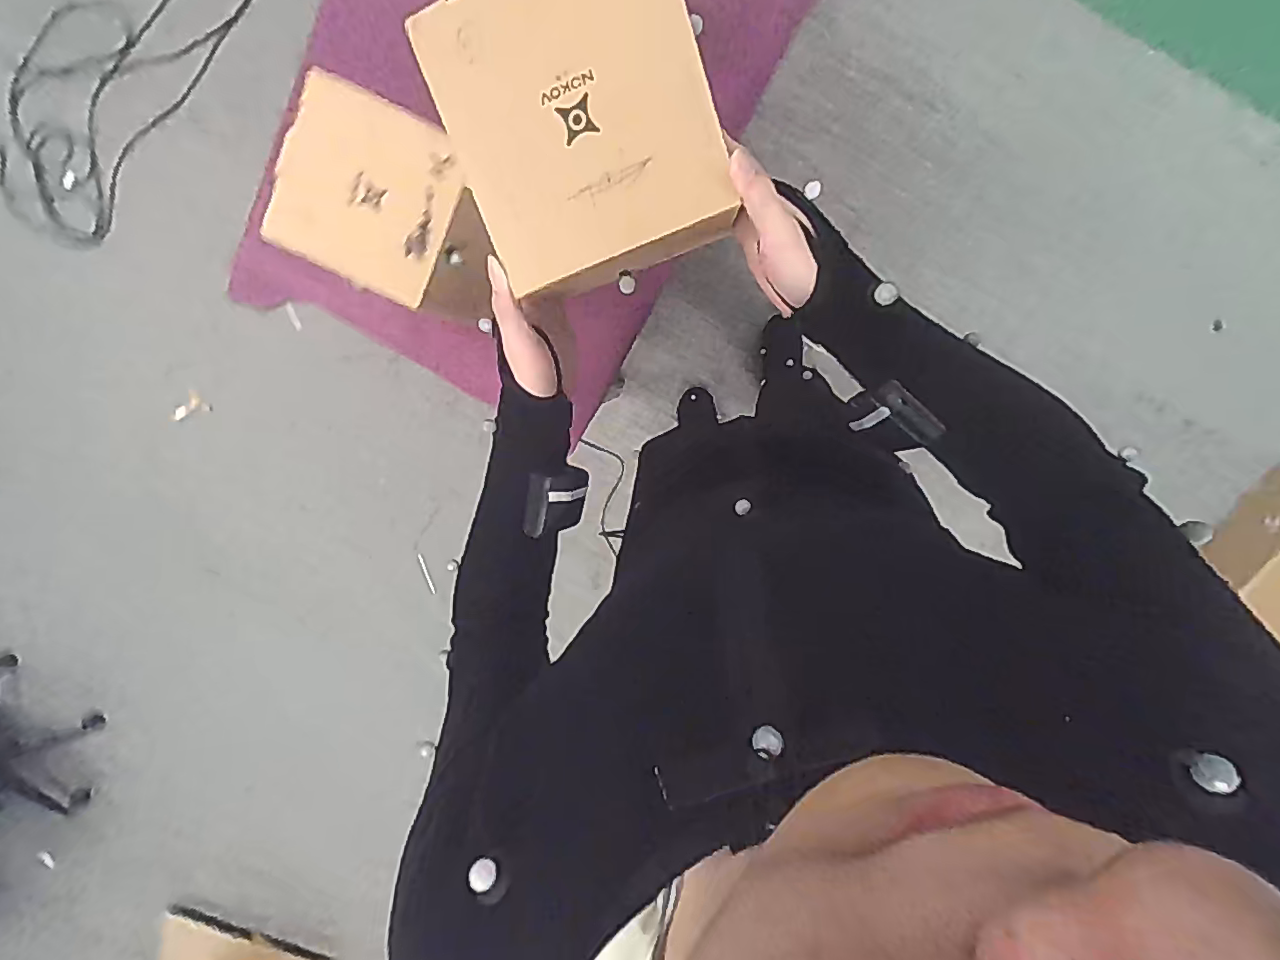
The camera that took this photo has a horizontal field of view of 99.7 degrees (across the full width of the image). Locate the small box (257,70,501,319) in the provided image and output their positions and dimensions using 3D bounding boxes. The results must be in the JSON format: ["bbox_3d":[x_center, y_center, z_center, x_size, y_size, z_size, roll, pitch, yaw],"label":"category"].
[{"bbox_3d":[-0.265,-0.293,0.602,0.179,0.176,0.168,26,102,-2],"label":"small box"}]

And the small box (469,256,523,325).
[{"bbox_3d":[-0.265,-0.330,0.762,0.179,0.176,0.168,24,101,-1],"label":"small box"}]

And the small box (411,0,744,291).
[{"bbox_3d":[-0.029,-0.256,0.408,0.168,0.176,0.179,-16,105,12],"label":"small box"}]
